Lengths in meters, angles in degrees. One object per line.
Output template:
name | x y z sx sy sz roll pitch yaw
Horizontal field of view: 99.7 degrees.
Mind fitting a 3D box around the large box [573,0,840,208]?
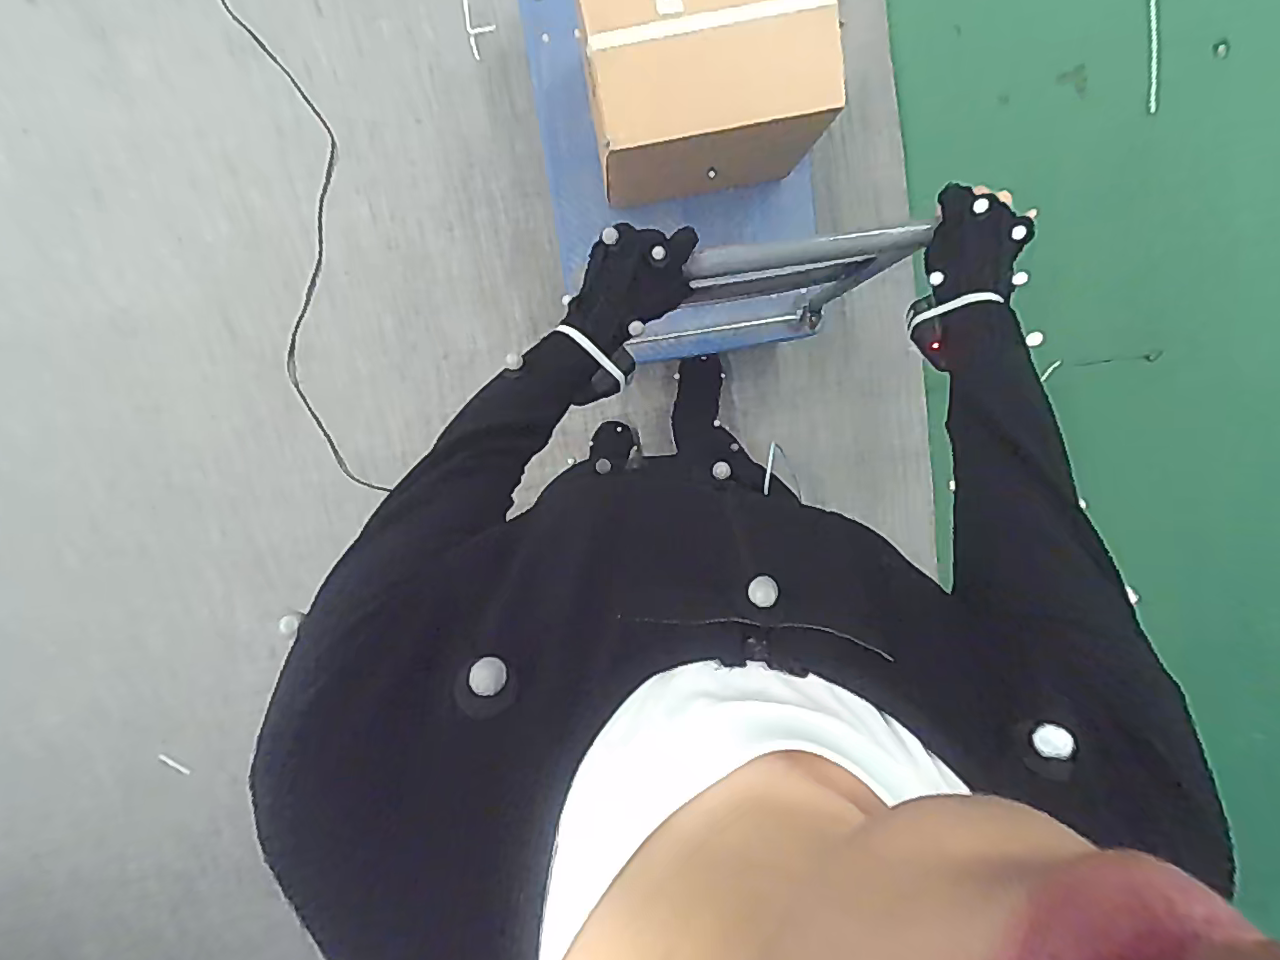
large box | 0.107 -0.754 1.020 0.408 0.320 0.320 -11 100 0
